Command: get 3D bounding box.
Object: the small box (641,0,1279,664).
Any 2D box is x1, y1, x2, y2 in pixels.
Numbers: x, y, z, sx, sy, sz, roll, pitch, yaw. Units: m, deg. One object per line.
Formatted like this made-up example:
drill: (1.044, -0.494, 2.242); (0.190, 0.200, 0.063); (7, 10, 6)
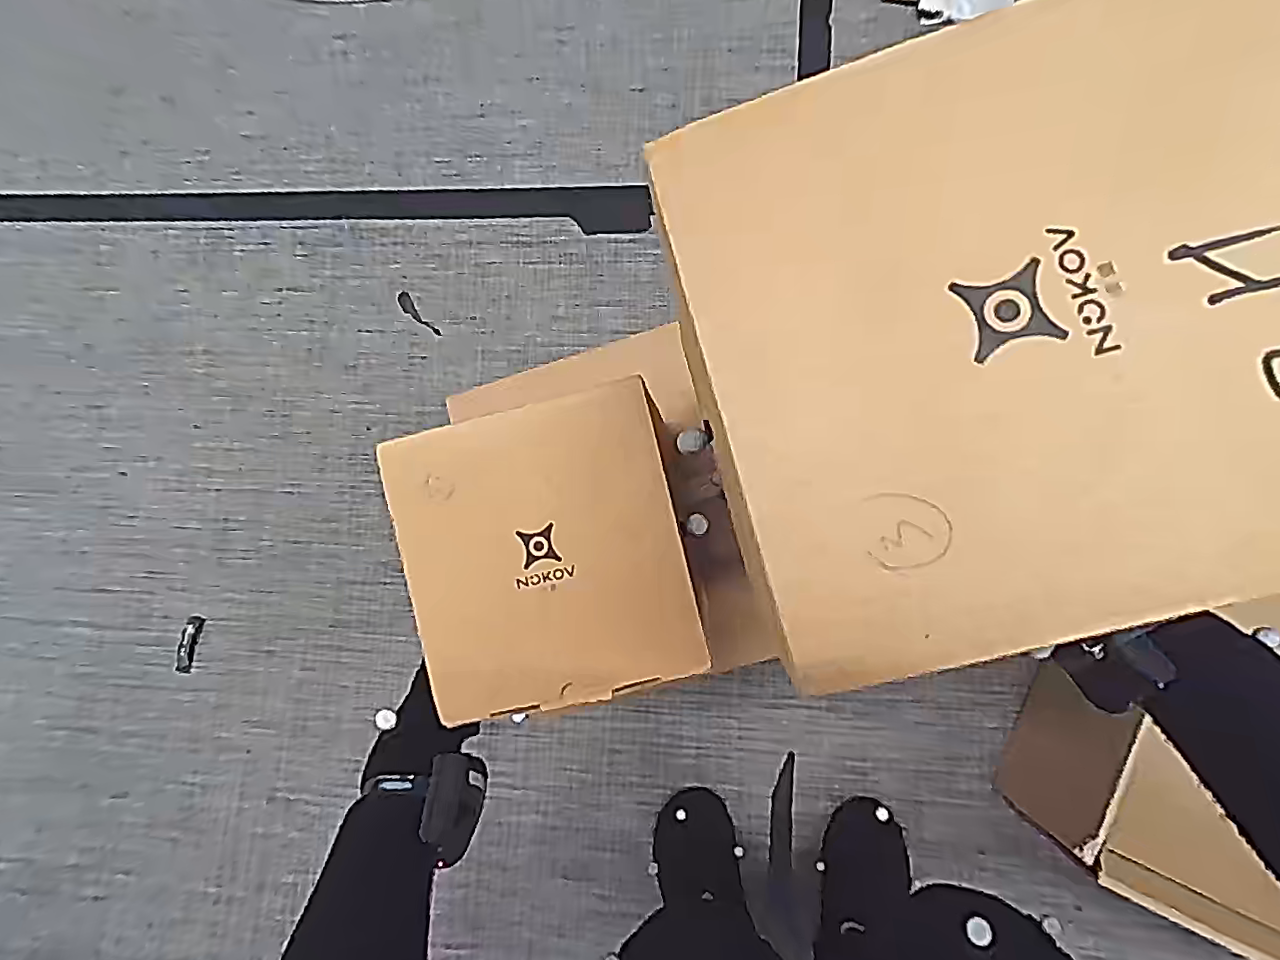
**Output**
small box: (0.114, -0.042, 0.219); (0.179, 0.176, 0.168); (-16, 83, 6)
